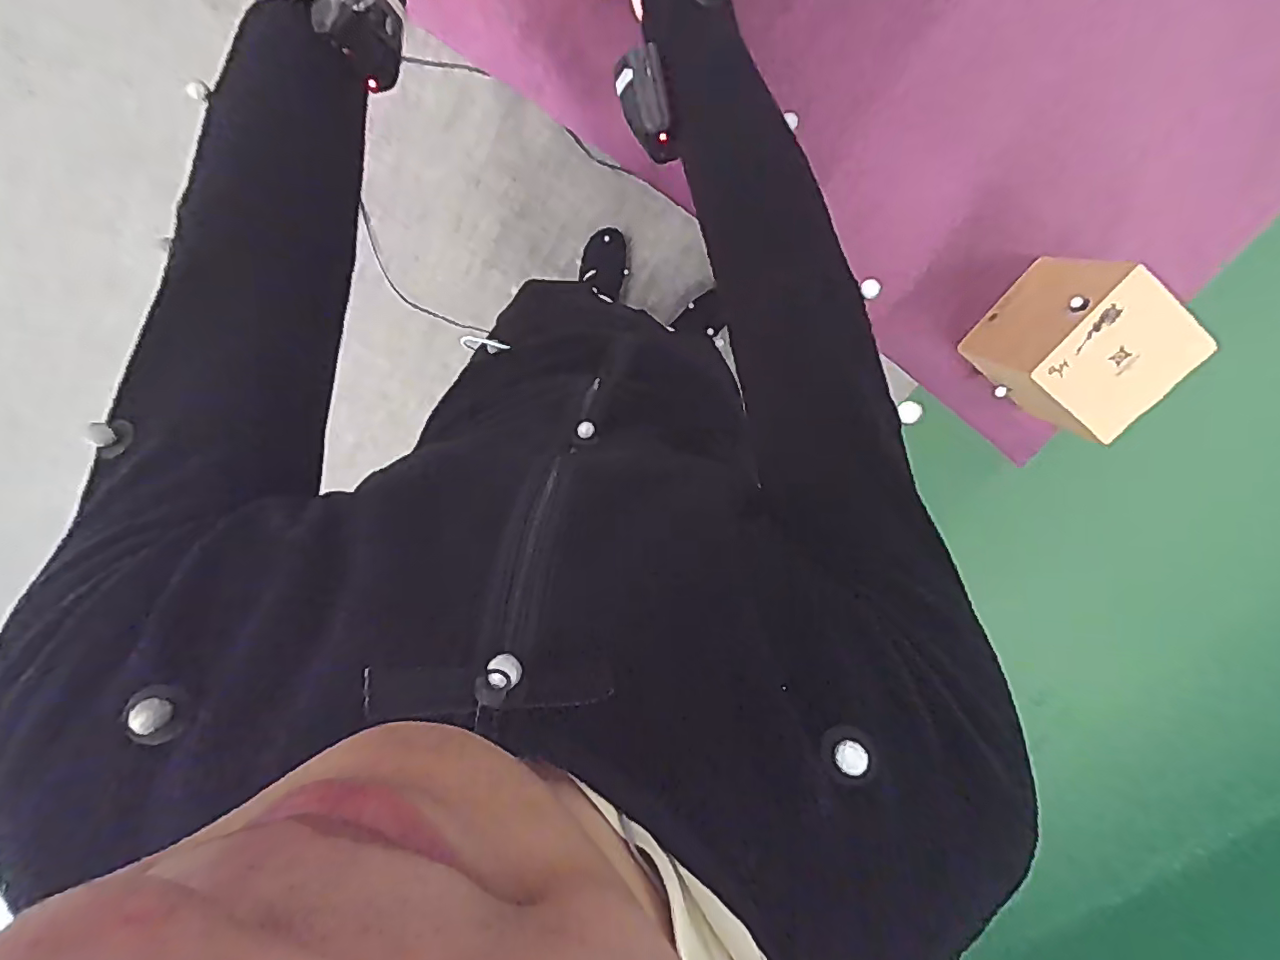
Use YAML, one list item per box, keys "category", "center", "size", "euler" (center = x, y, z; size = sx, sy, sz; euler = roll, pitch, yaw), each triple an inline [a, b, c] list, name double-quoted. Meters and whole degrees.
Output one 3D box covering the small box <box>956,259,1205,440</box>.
- category: "small box"
  center: [0.601, -0.192, 0.761]
  size: [0.179, 0.176, 0.168]
  euler: [32, 110, -17]
